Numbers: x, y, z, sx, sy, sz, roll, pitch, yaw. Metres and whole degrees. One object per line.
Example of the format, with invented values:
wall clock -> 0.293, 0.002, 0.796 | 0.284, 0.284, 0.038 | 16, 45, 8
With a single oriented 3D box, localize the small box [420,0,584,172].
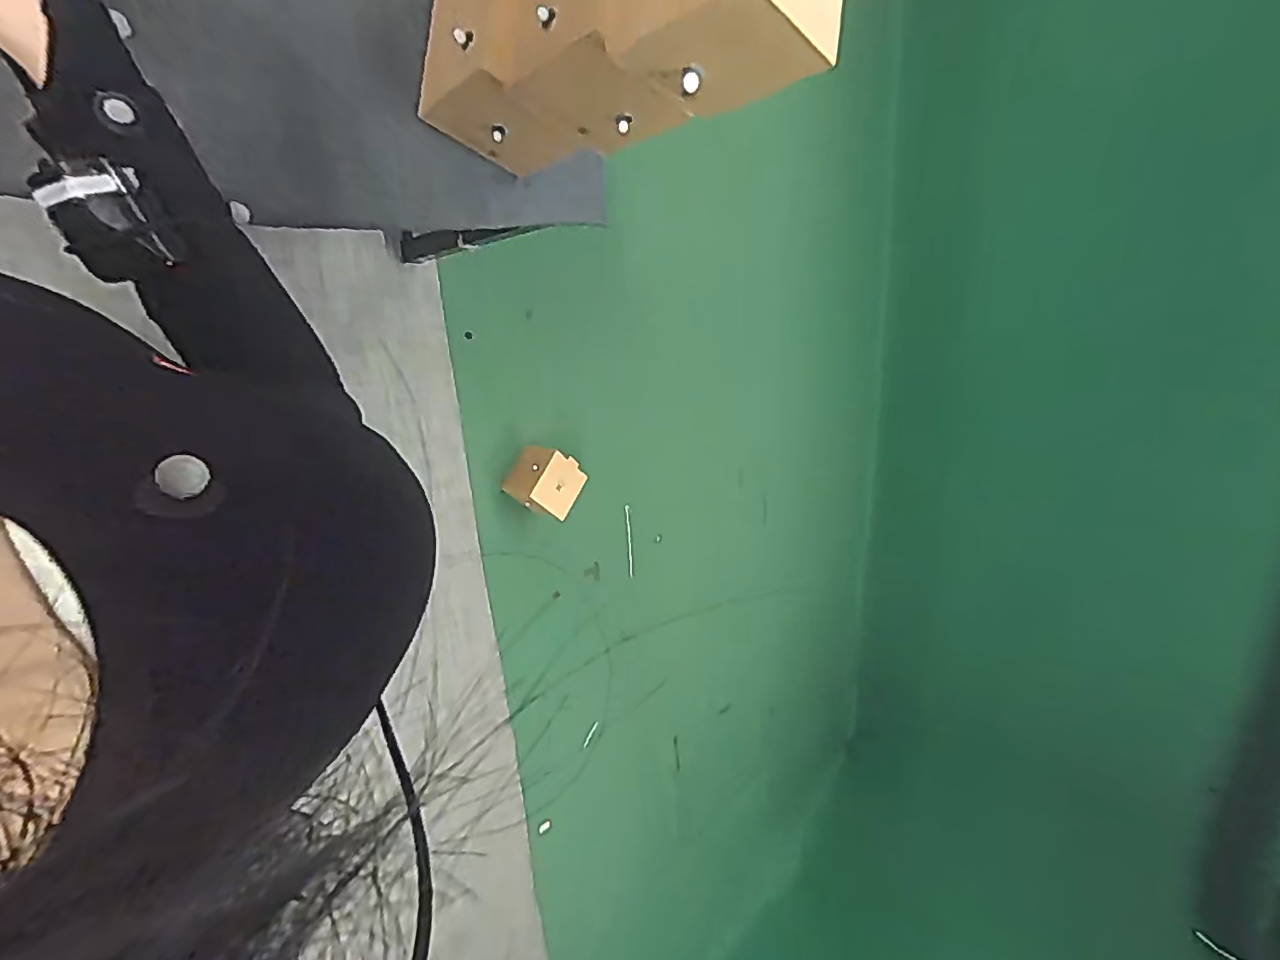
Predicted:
small box -> -0.172, -0.547, 0.717 | 0.168, 0.176, 0.179 | 8, 91, -47

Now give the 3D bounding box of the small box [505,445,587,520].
small box -> -0.314, 0.004, 1.776 | 0.168, 0.176, 0.179 | 44, 67, -42

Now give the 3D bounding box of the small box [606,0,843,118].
small box -> 0.081, -0.492, 0.517 | 0.168, 0.176, 0.179 | -8, 104, -46

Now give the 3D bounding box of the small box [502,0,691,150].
small box -> -0.042, -0.519, 0.622 | 0.168, 0.176, 0.179 | 0, 96, -47
